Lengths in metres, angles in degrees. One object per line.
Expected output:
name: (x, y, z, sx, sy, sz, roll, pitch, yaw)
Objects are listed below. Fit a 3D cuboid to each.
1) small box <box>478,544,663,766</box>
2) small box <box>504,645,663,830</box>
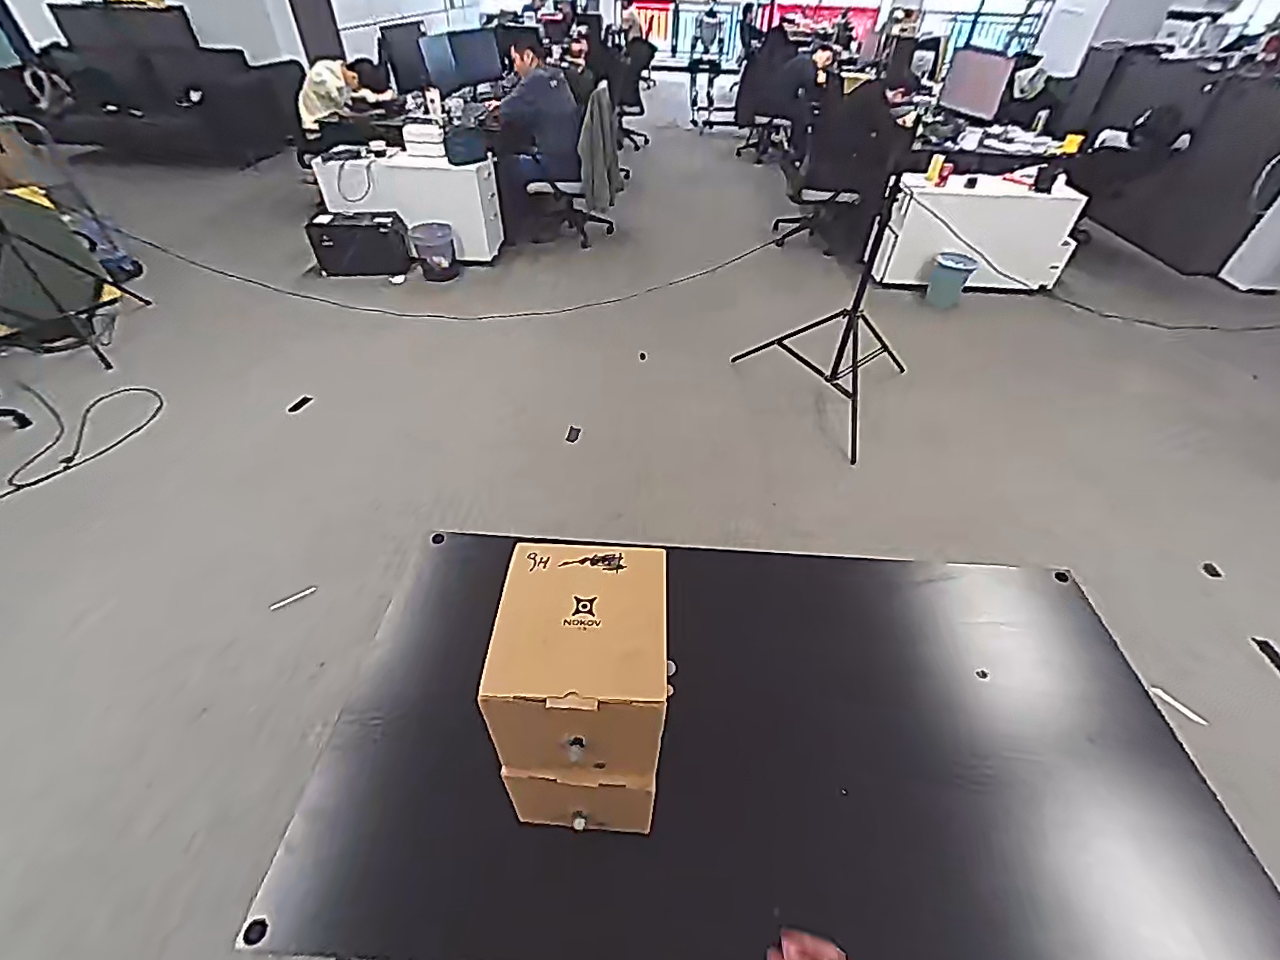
small box: (-0.059, 0.190, 0.584, 0.168, 0.176, 0.179, 2, 44, 0)
small box: (-0.061, 0.317, 0.690, 0.168, 0.176, 0.179, 4, 43, 3)
